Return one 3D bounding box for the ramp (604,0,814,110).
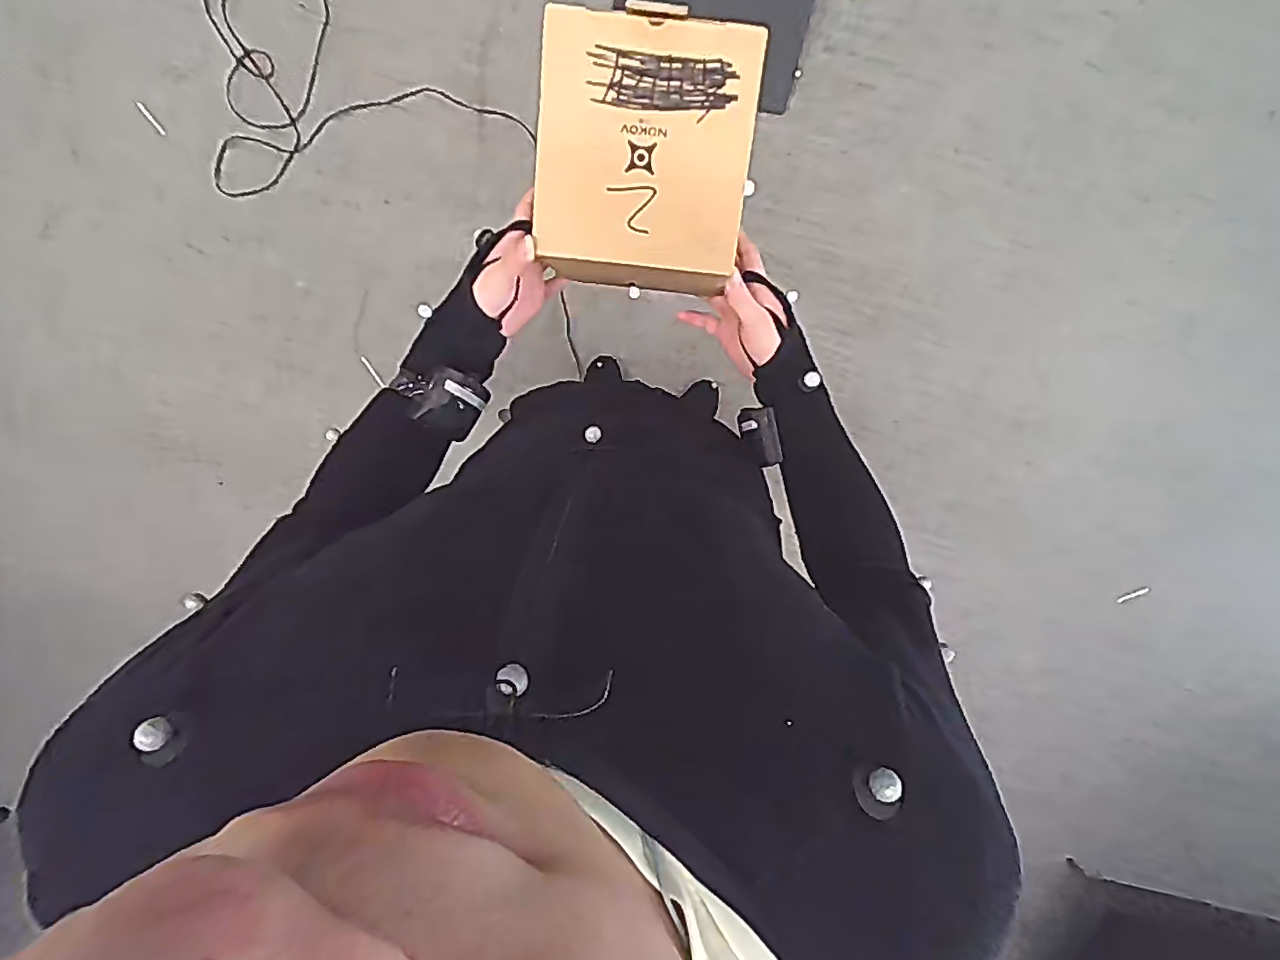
[{"bbox_3d":[0.244,-1.459,1.212,0.509,0.206,0.991,11,103,-2],"label":"ramp"}]
